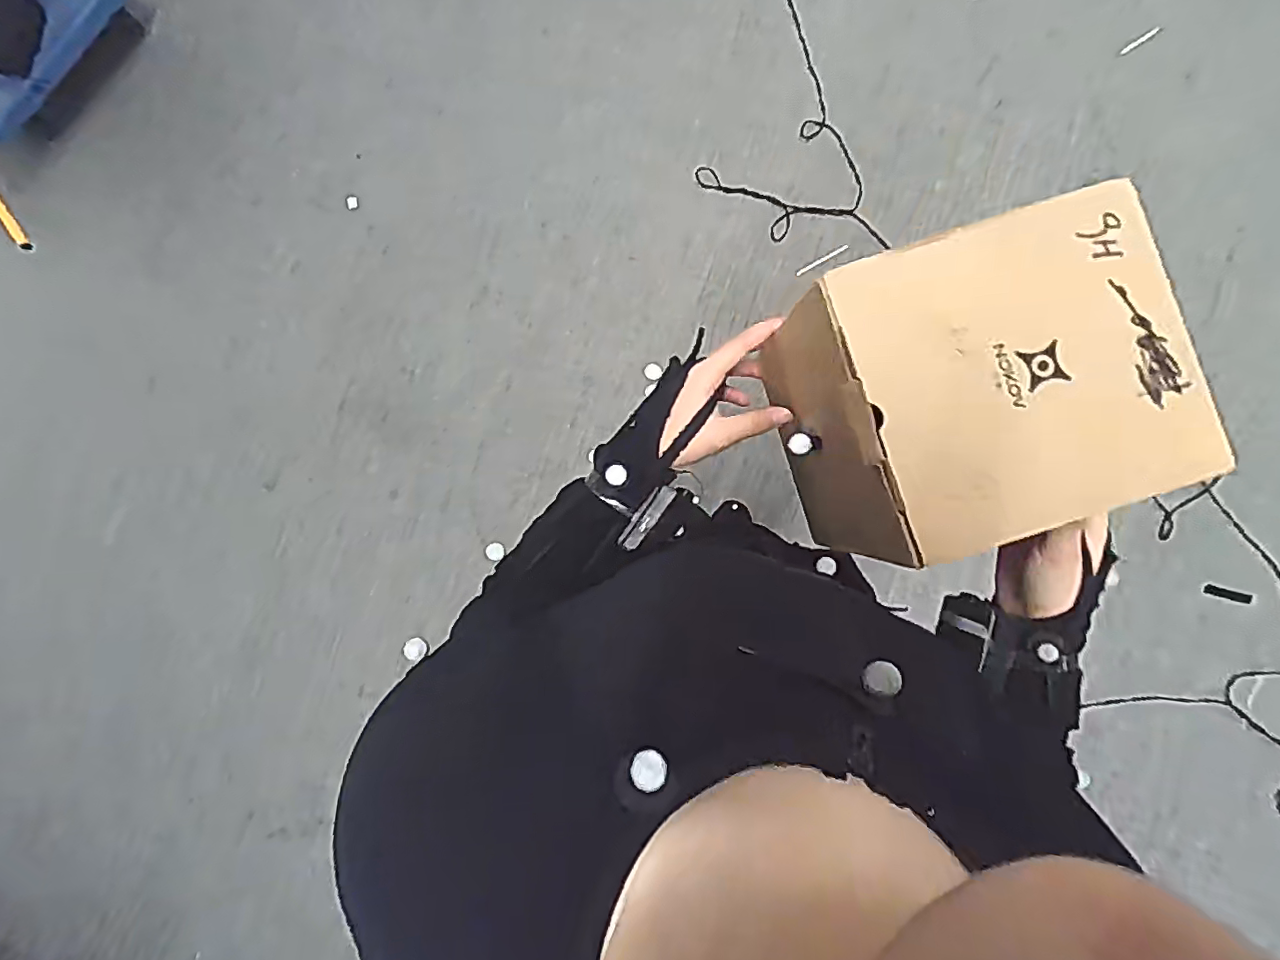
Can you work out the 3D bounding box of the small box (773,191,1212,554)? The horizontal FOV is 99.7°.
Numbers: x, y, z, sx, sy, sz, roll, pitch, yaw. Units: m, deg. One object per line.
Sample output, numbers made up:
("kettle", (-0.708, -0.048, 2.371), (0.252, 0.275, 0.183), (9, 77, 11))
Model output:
("small box", (0.204, -0.054, 0.375), (0.179, 0.176, 0.168), (-17, 87, 0))
